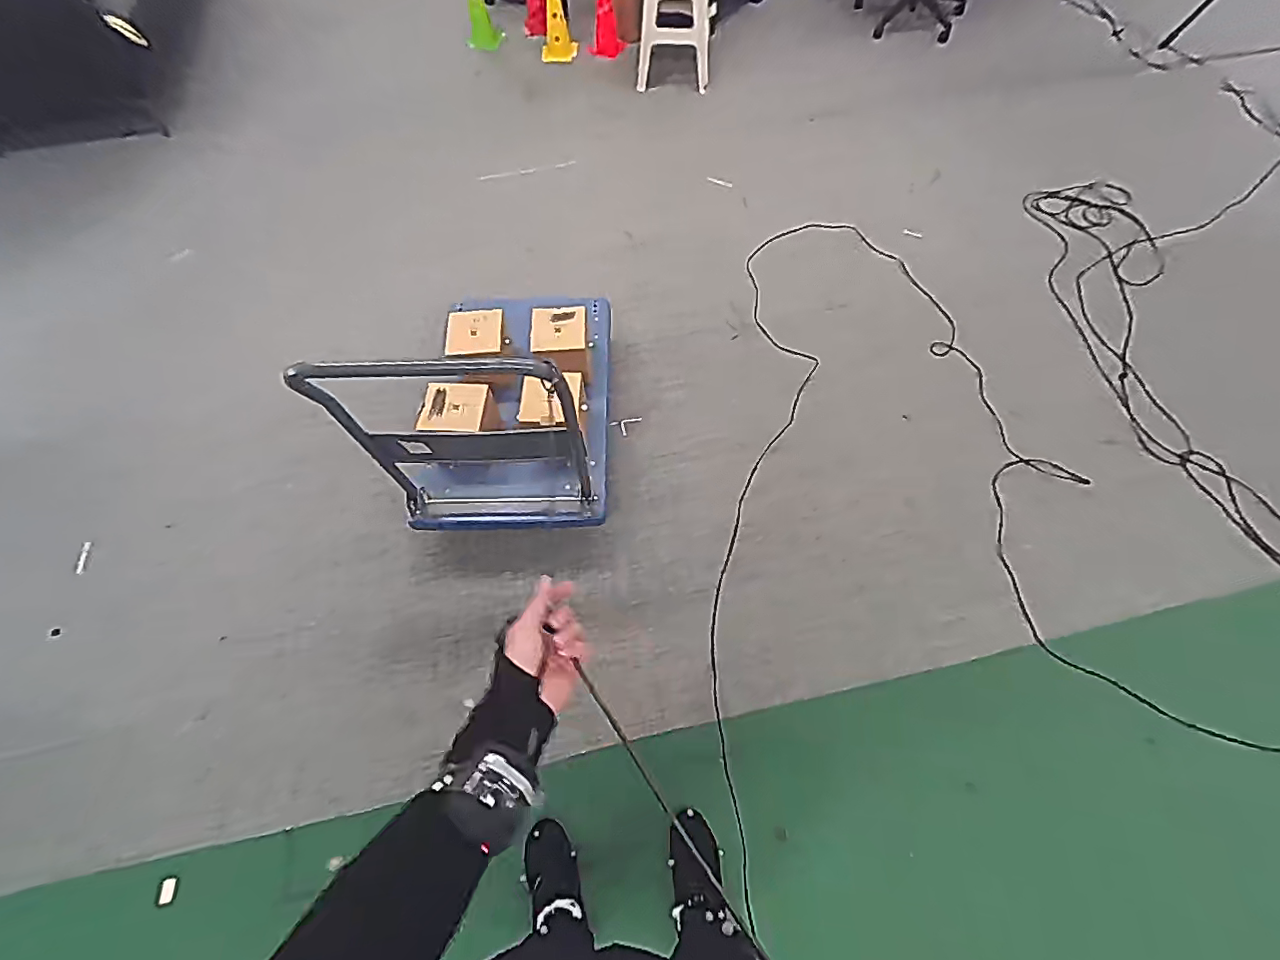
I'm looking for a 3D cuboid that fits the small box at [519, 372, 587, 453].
[{"bbox_3d":[-0.249,-0.196,1.587,0.168,0.176,0.179,0,63,1],"label":"small box"}]

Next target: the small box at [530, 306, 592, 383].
[{"bbox_3d":[-0.245,-0.425,1.705,0.168,0.176,0.179,-3,63,1],"label":"small box"}]

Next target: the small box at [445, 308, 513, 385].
[{"bbox_3d":[-0.501,-0.415,1.705,0.168,0.176,0.179,-4,62,-2],"label":"small box"}]
